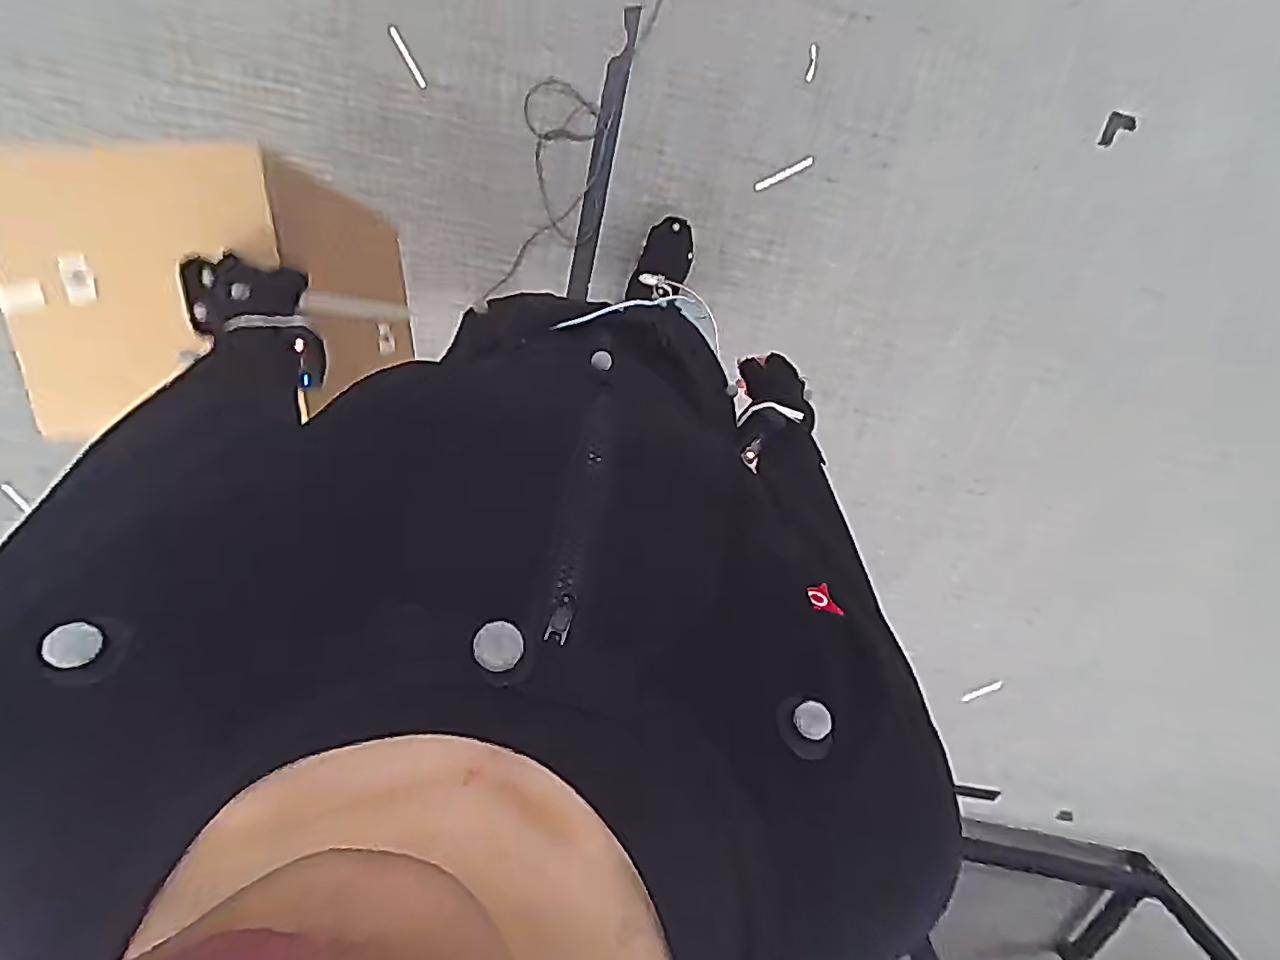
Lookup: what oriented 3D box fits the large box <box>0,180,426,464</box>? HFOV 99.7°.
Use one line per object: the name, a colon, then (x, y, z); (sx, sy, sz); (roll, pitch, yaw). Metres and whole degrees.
large box: (-0.566, -0.227, 0.822); (0.320, 0.408, 0.320); (-4, 104, -3)
